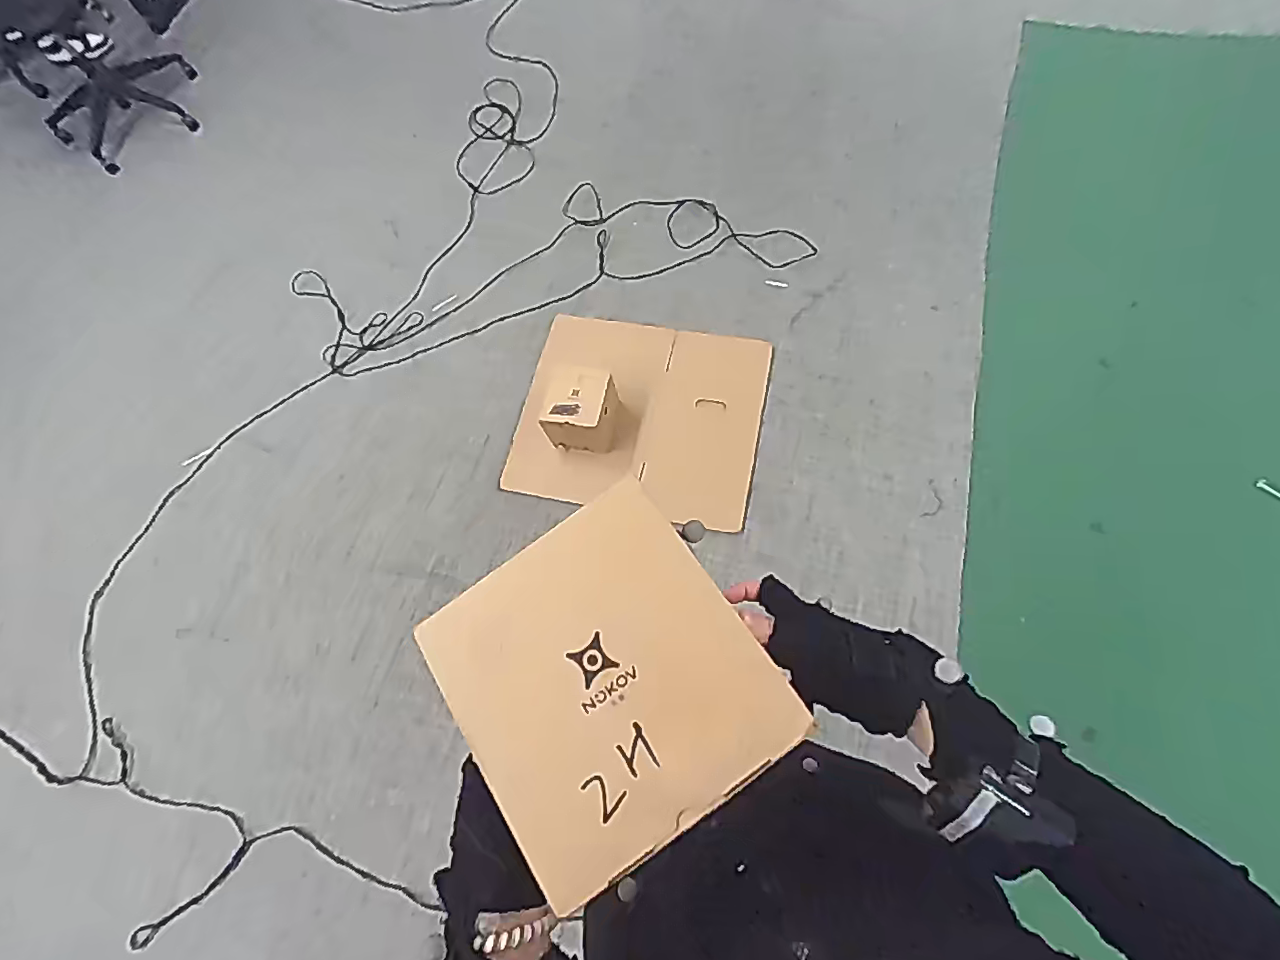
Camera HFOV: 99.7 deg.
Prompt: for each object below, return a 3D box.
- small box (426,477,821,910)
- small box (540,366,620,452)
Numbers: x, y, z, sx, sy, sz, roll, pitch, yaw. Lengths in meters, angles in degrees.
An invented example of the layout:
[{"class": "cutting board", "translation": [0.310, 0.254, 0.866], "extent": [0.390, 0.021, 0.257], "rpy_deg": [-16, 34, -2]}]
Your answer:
[{"class": "small box", "translation": [-0.006, 0.130, 0.378], "extent": [0.168, 0.176, 0.179], "rpy_deg": [-36, 72, -1]}, {"class": "small box", "translation": [-0.158, -0.193, 1.509], "extent": [0.168, 0.176, 0.179], "rpy_deg": [9, 70, 10]}]
